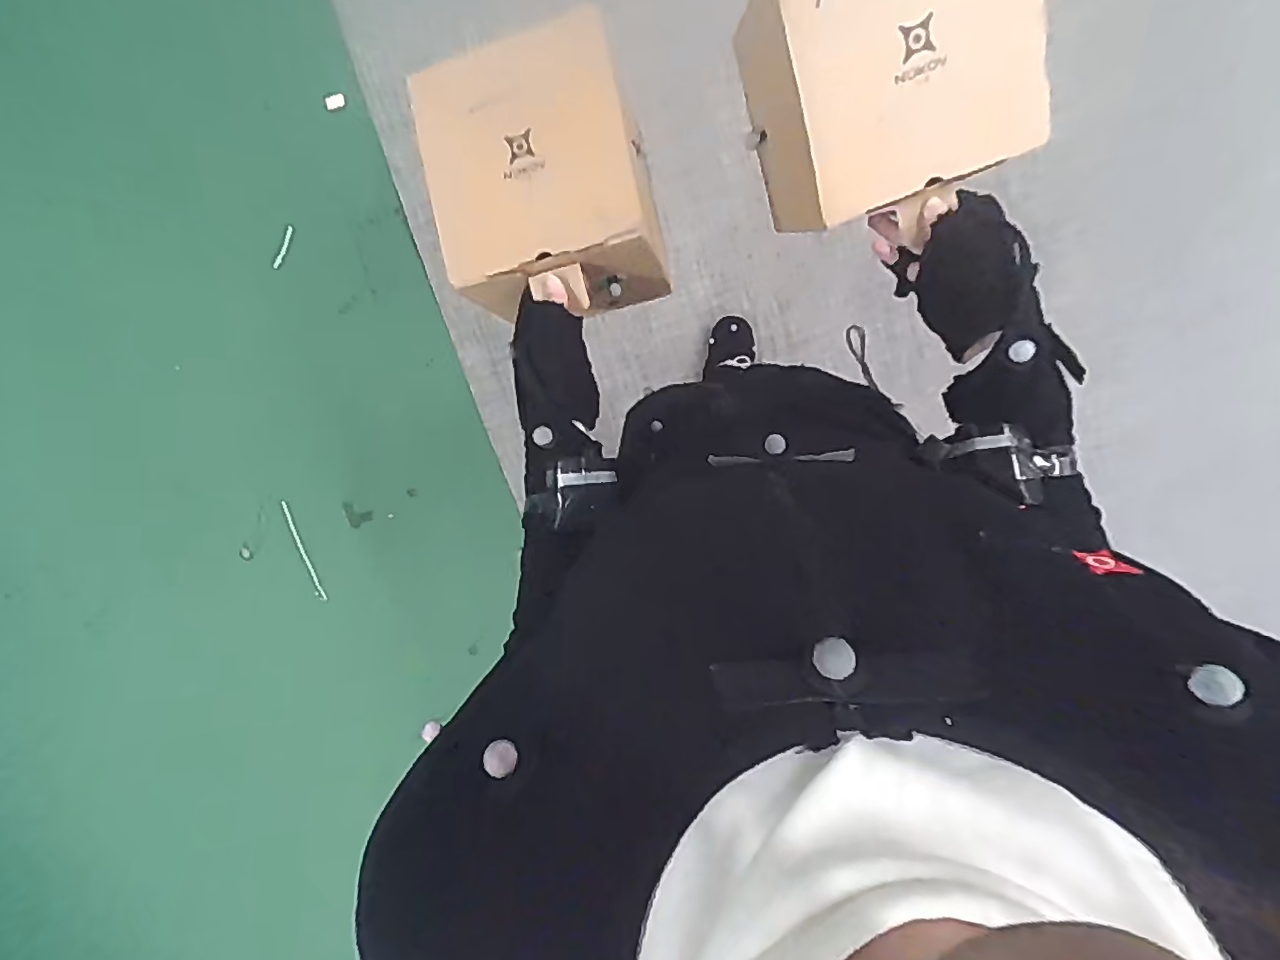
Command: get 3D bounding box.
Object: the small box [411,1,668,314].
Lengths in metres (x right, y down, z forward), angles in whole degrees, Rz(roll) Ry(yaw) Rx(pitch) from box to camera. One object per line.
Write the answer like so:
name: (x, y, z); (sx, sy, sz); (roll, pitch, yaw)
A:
small box: (-0.076, -0.268, 0.505); (0.168, 0.176, 0.179); (-12, 91, 11)
